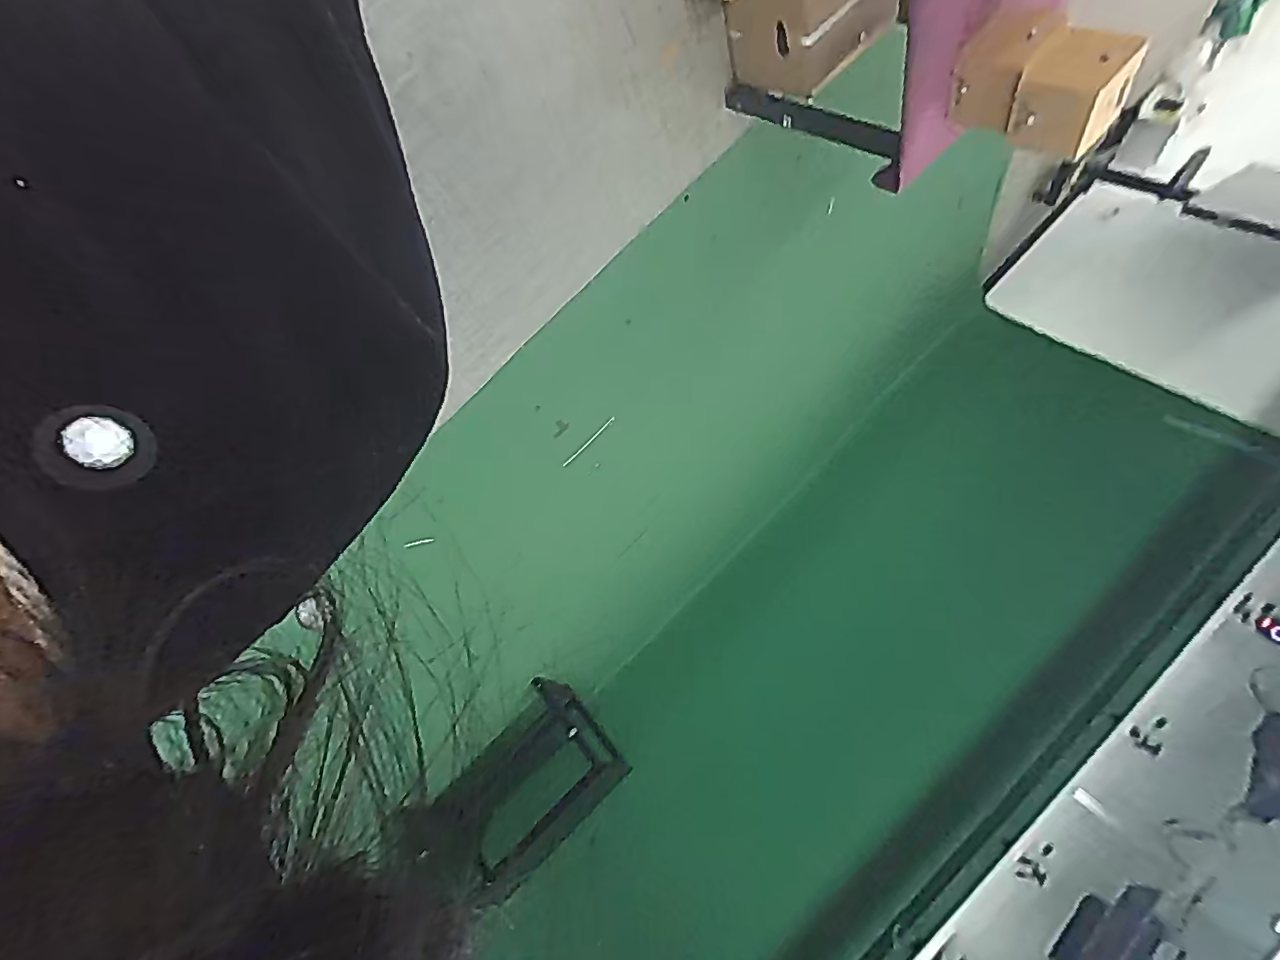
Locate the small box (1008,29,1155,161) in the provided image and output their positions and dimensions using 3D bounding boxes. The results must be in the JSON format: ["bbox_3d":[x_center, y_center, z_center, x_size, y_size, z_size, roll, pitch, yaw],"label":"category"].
[{"bbox_3d":[0.982,-0.870,1.219,0.179,0.176,0.168,-47,148,-3],"label":"small box"}]

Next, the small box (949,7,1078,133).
[{"bbox_3d":[0.879,-0.979,1.289,0.179,0.176,0.168,-47,148,-3],"label":"small box"}]
